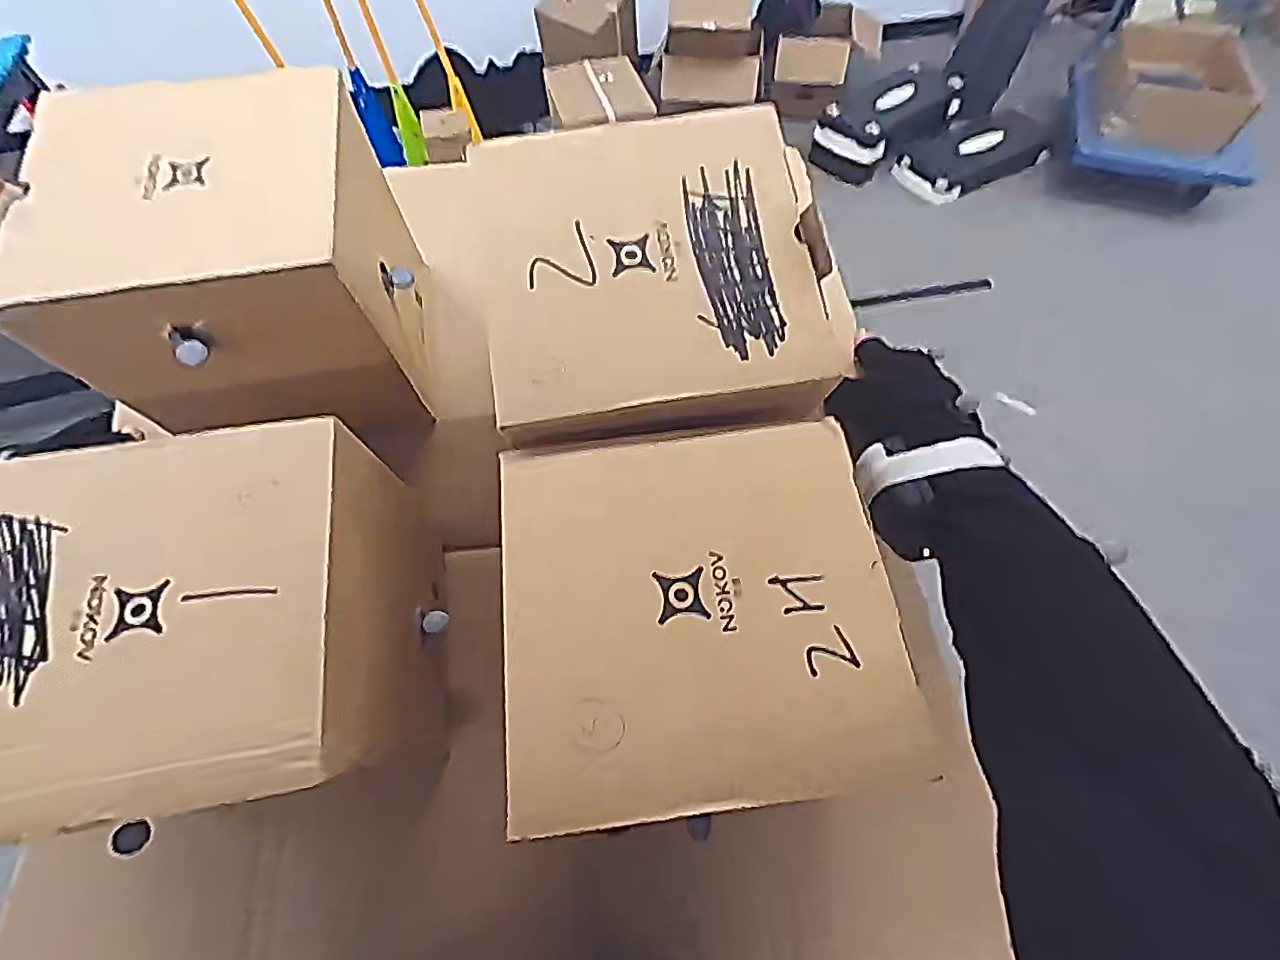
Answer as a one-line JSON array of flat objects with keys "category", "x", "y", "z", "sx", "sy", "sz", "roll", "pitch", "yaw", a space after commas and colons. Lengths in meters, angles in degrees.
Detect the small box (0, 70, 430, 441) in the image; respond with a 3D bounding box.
[{"category": "small box", "x": -0.260, "y": -0.144, "z": 0.386, "sx": 0.179, "sy": 0.176, "sz": 0.168, "roll": -10, "pitch": 68, "yaw": -4}]
